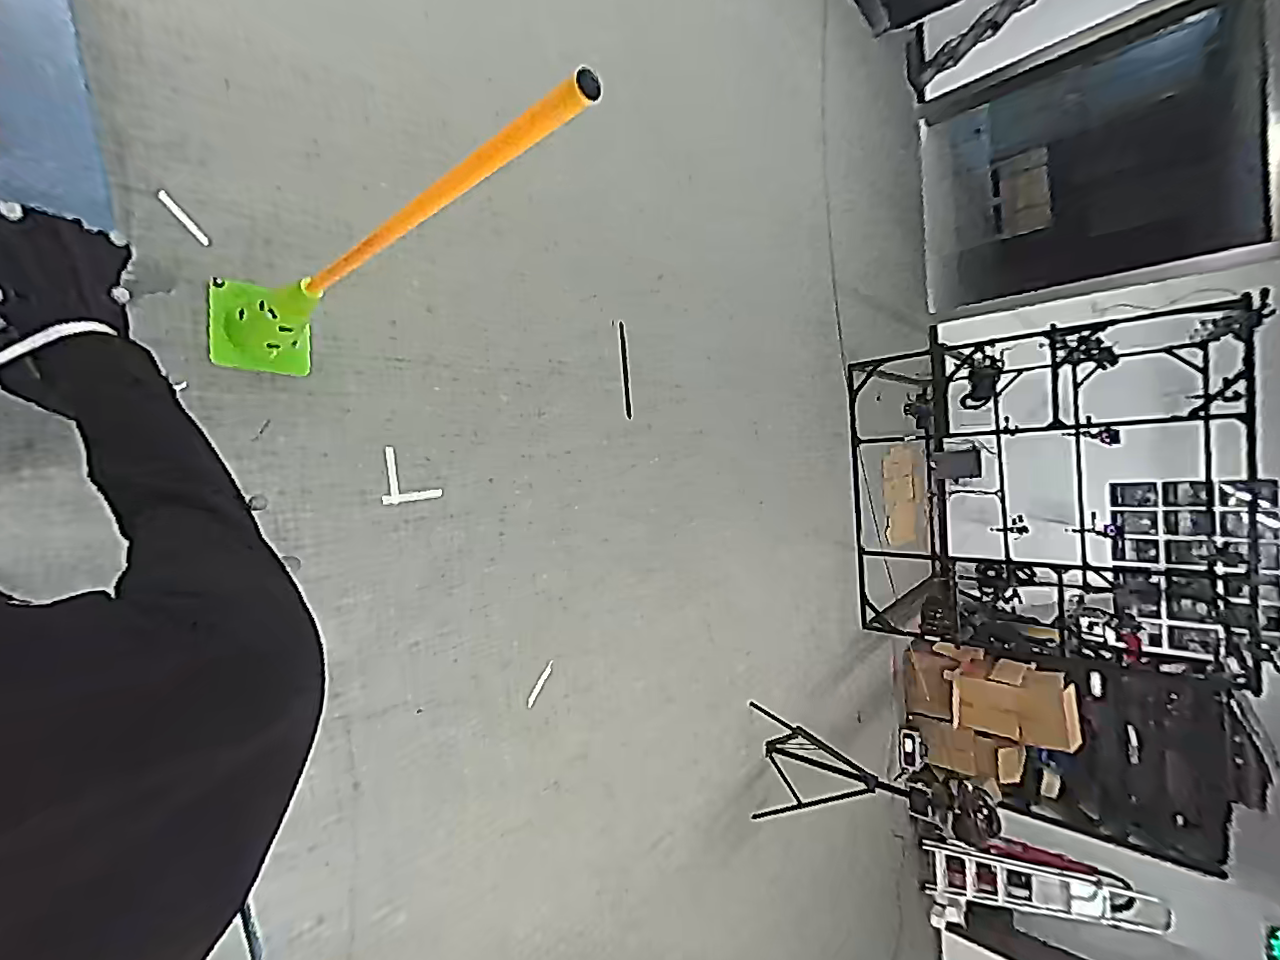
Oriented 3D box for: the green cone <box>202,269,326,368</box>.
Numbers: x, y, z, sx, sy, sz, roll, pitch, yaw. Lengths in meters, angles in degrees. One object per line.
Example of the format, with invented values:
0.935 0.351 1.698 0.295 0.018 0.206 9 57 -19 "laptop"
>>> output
-0.765 -0.375 1.151 0.202 0.368 0.200 0 89 -50 "green cone"
